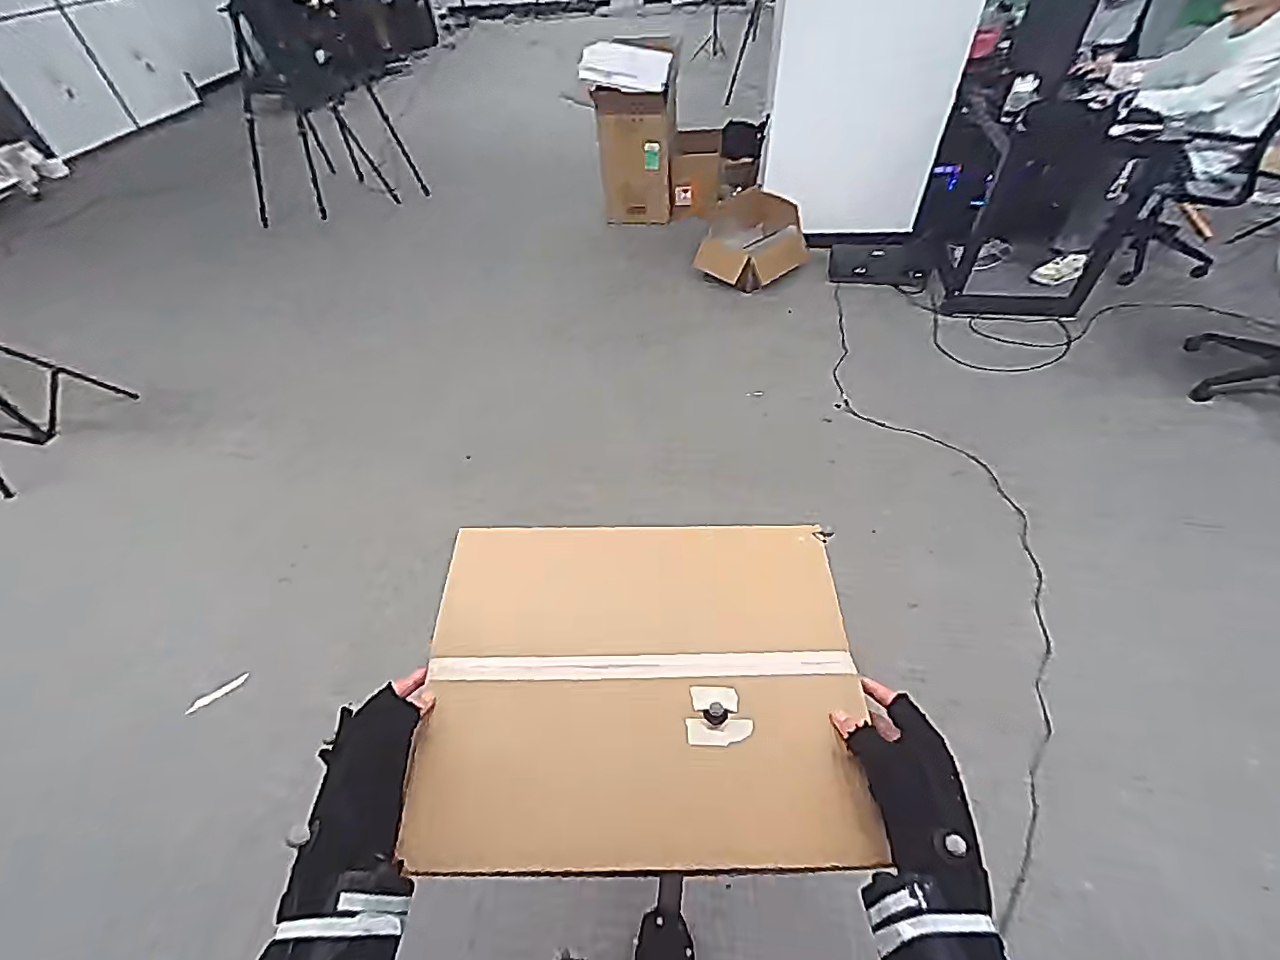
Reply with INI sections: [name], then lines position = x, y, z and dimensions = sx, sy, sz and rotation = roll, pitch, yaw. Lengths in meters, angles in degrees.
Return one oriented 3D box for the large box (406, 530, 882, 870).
[large box]
position = 0.001, 0.271, 0.650
dimensions = 0.408, 0.320, 0.320
rotation = 0, 53, 0
